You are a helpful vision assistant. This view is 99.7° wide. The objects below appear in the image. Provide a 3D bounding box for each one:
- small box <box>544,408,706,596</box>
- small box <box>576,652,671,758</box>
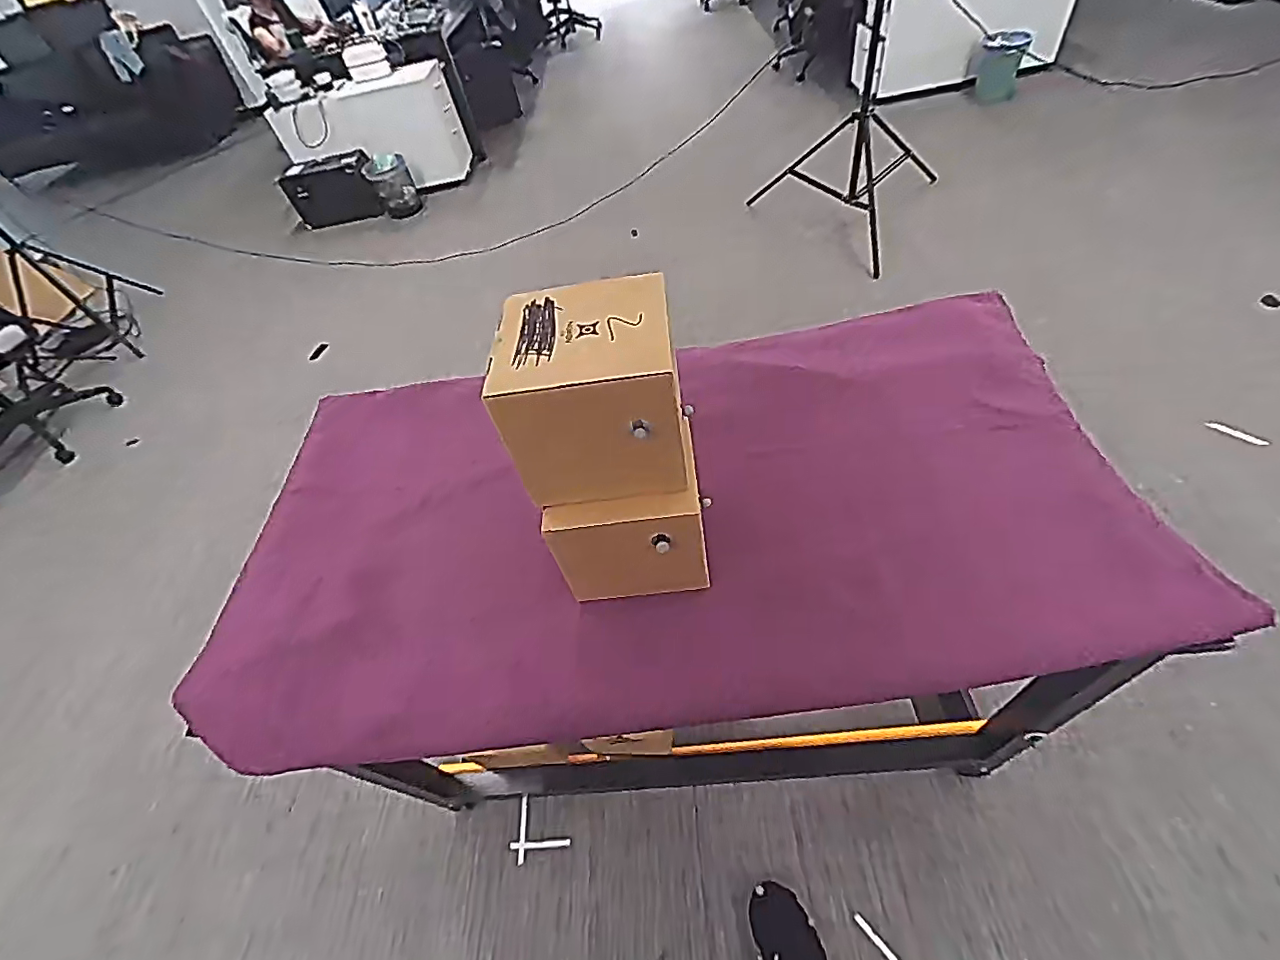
[{"bbox_3d":[-0.010,0.033,0.690,0.179,0.176,0.168,-7,49,6],"label":"small box"},{"bbox_3d":[-0.026,0.477,1.141,0.168,0.176,0.179,-3,51,9],"label":"small box"}]
